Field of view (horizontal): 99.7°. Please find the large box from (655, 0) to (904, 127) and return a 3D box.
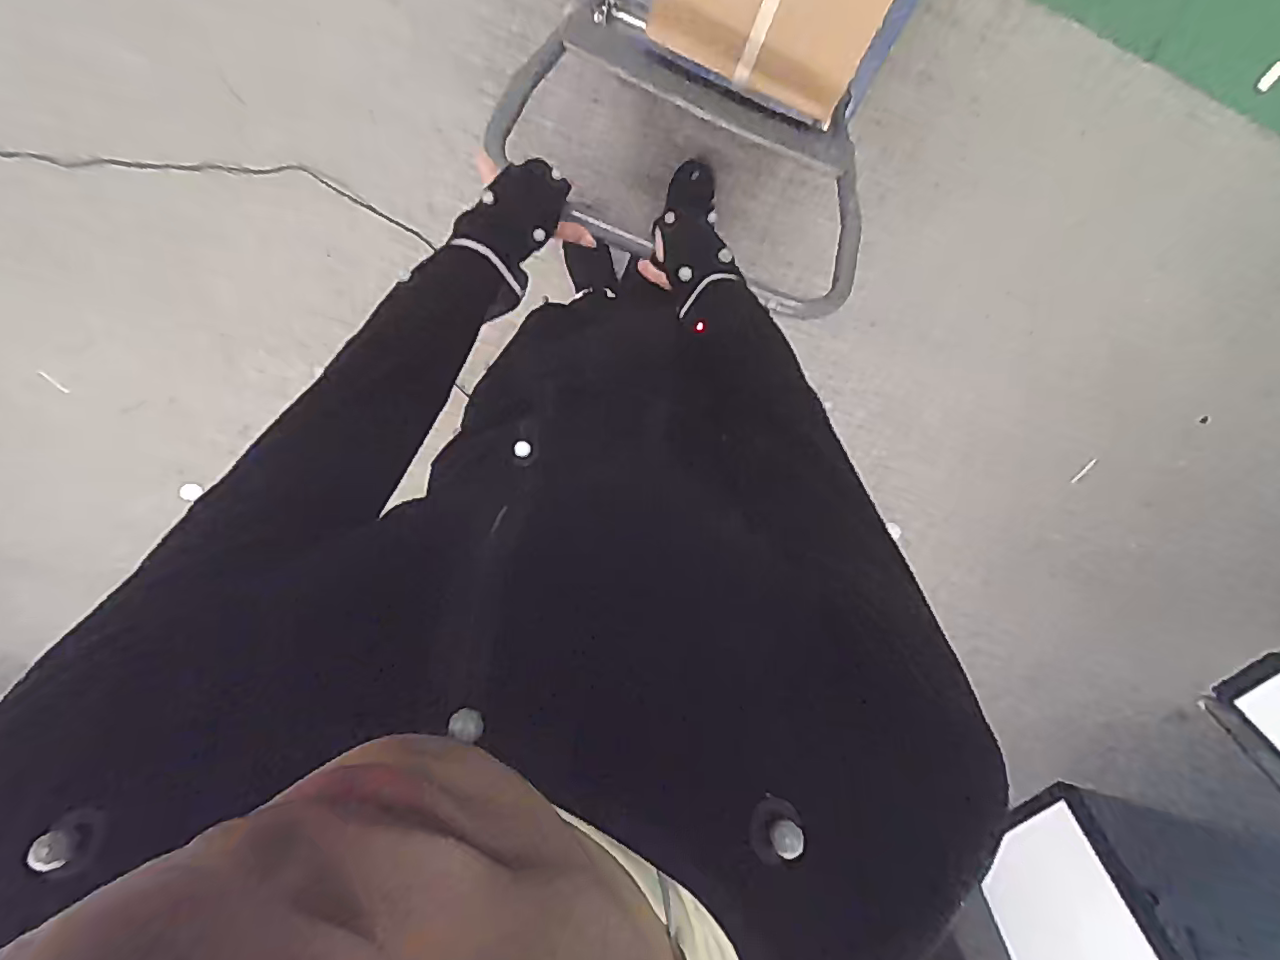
[{"bbox_3d":[0.249,-0.825,0.781,0.320,0.320,0.408,20,138,-8],"label":"large box"}]
